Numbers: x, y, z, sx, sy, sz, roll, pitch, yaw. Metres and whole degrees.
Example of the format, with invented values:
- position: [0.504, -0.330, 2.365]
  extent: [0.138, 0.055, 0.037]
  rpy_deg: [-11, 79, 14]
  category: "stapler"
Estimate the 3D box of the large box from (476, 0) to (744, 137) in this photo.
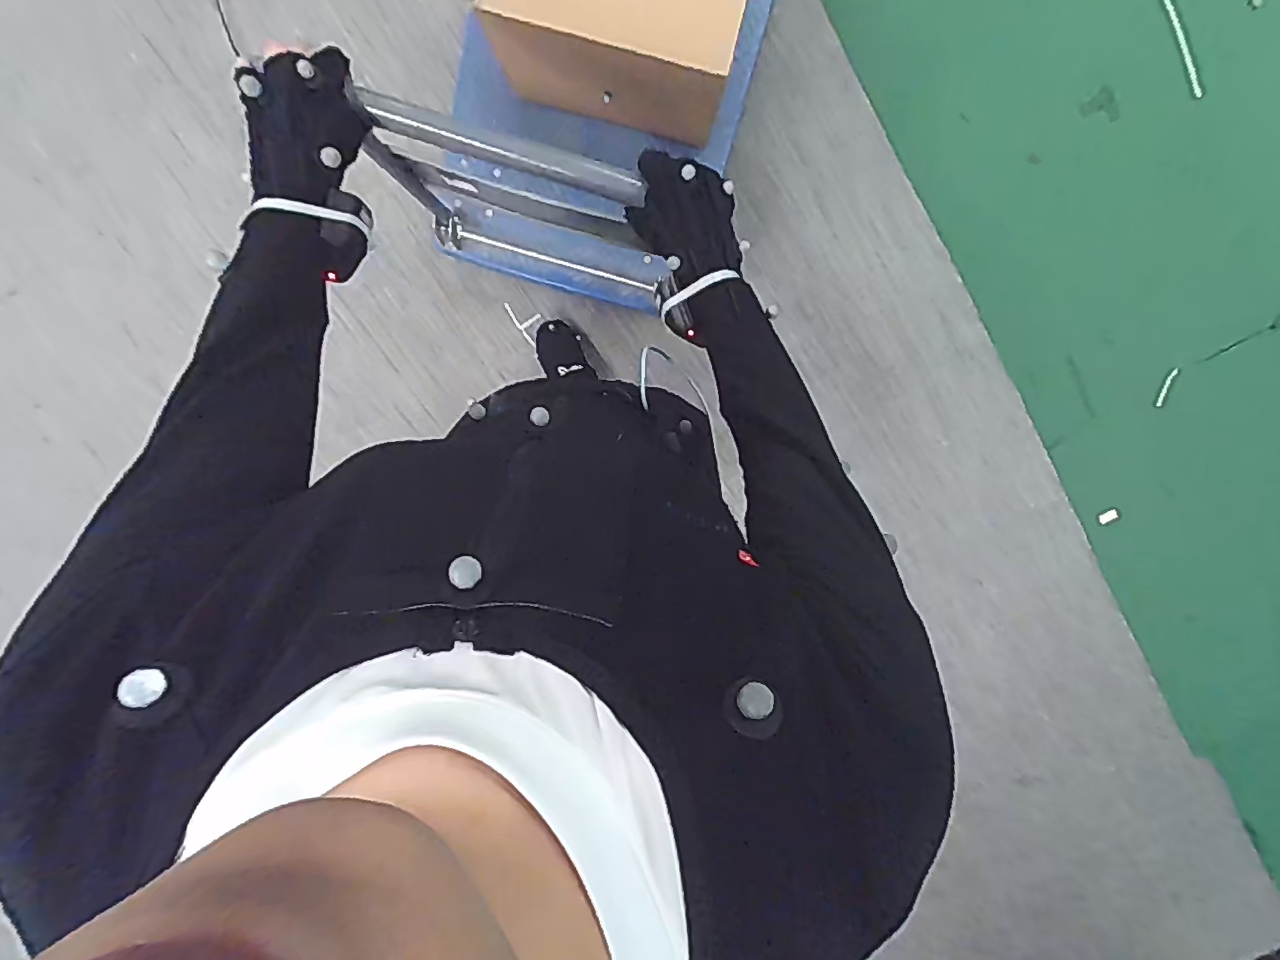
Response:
- position: [-0.022, -0.857, 0.937]
  extent: [0.408, 0.320, 0.320]
  rpy_deg: [13, 103, -3]
  category: "large box"
